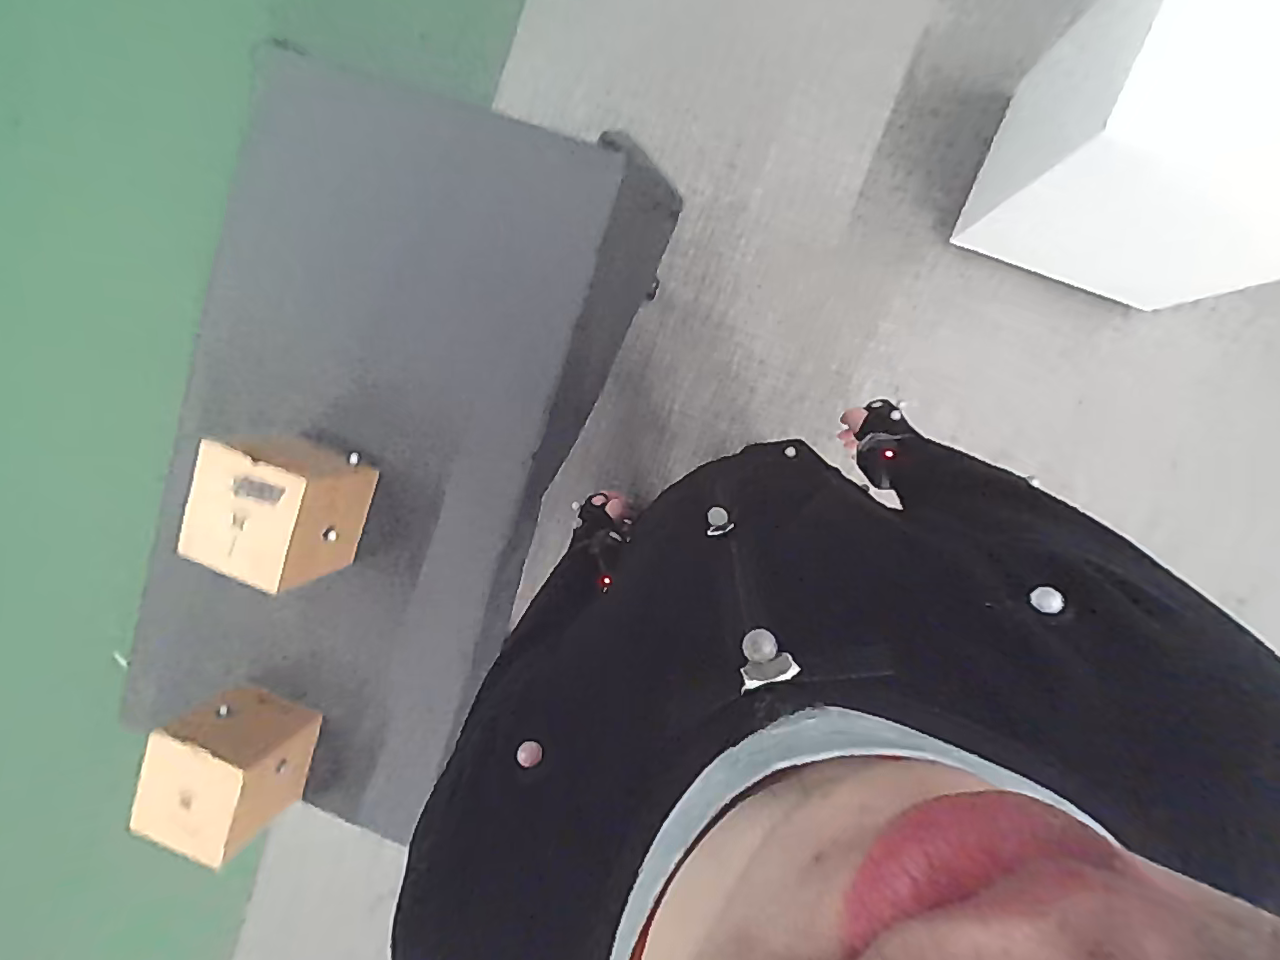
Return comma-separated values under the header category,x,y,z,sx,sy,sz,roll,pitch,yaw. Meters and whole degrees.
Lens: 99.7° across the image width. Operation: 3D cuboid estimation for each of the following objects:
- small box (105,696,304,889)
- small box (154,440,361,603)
category,x,y,z,sx,sy,sz,roll,pitch,yaw
small box,-0.673,0.478,0.856,0.168,0.176,0.179,19,99,5
small box,-0.547,0.048,0.796,0.168,0.176,0.179,21,99,3
